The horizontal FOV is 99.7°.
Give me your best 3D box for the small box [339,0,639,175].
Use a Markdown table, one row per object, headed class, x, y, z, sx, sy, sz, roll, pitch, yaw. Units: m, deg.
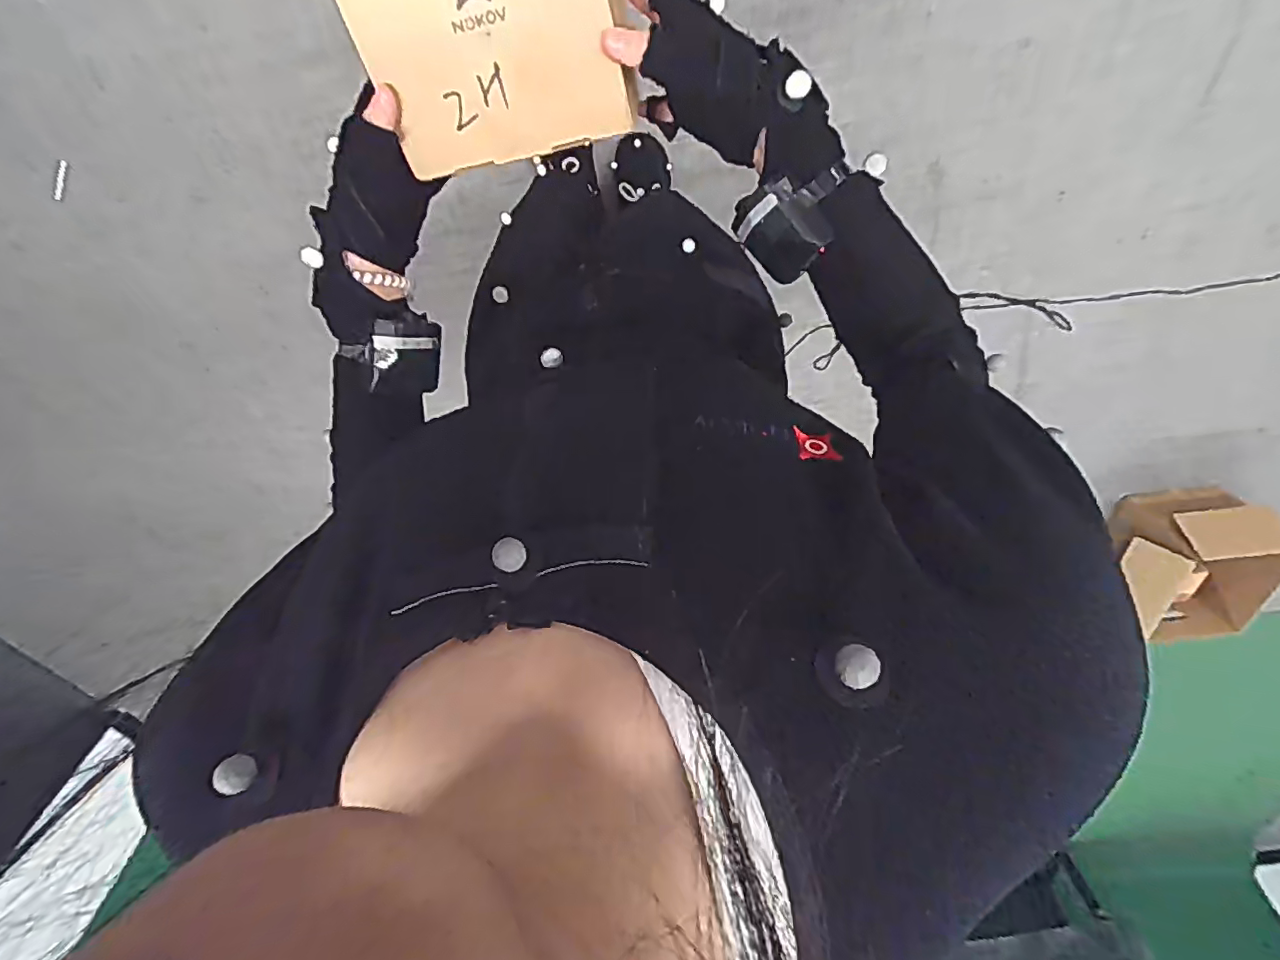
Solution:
| class | x | y | z | sx | sy | sz | roll | pitch | yaw |
| --- | --- | --- | --- | --- | --- | --- | --- | --- | --- |
| small box | -0.097 | -0.346 | 0.381 | 0.168 | 0.176 | 0.179 | -7 | 133 | 10 |
